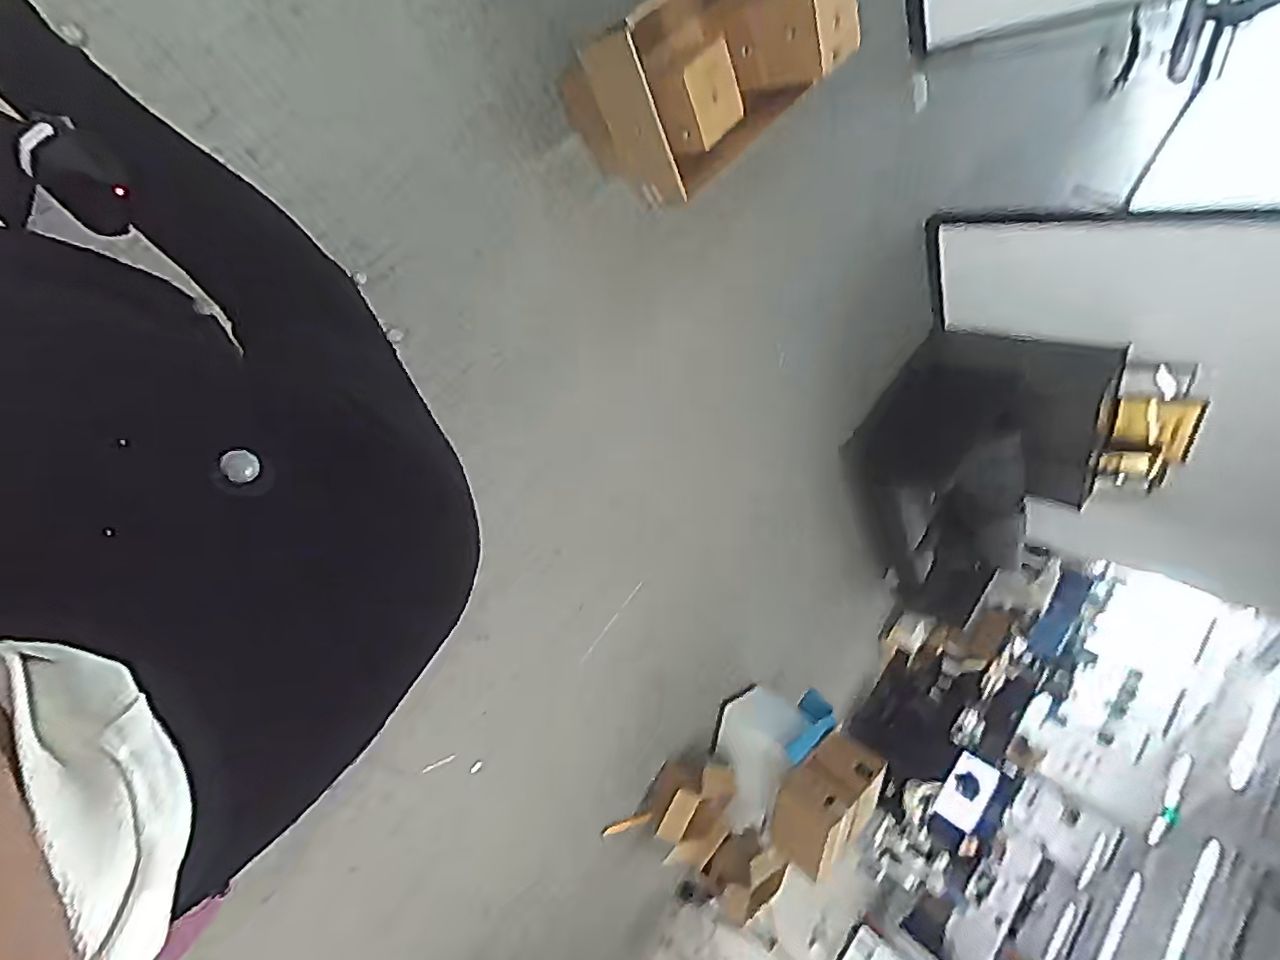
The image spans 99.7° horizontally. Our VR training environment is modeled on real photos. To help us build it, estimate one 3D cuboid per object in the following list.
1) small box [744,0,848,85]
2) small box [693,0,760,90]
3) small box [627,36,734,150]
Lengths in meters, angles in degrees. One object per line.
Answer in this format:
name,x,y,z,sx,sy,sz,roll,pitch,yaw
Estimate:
small box,0.377,-1.109,1.317,0.168,0.176,0.179,-47,134,-17
small box,0.265,-1.160,1.426,0.168,0.176,0.179,-47,135,-18
small box,0.101,-0.954,1.350,0.168,0.176,0.179,-51,135,-17
